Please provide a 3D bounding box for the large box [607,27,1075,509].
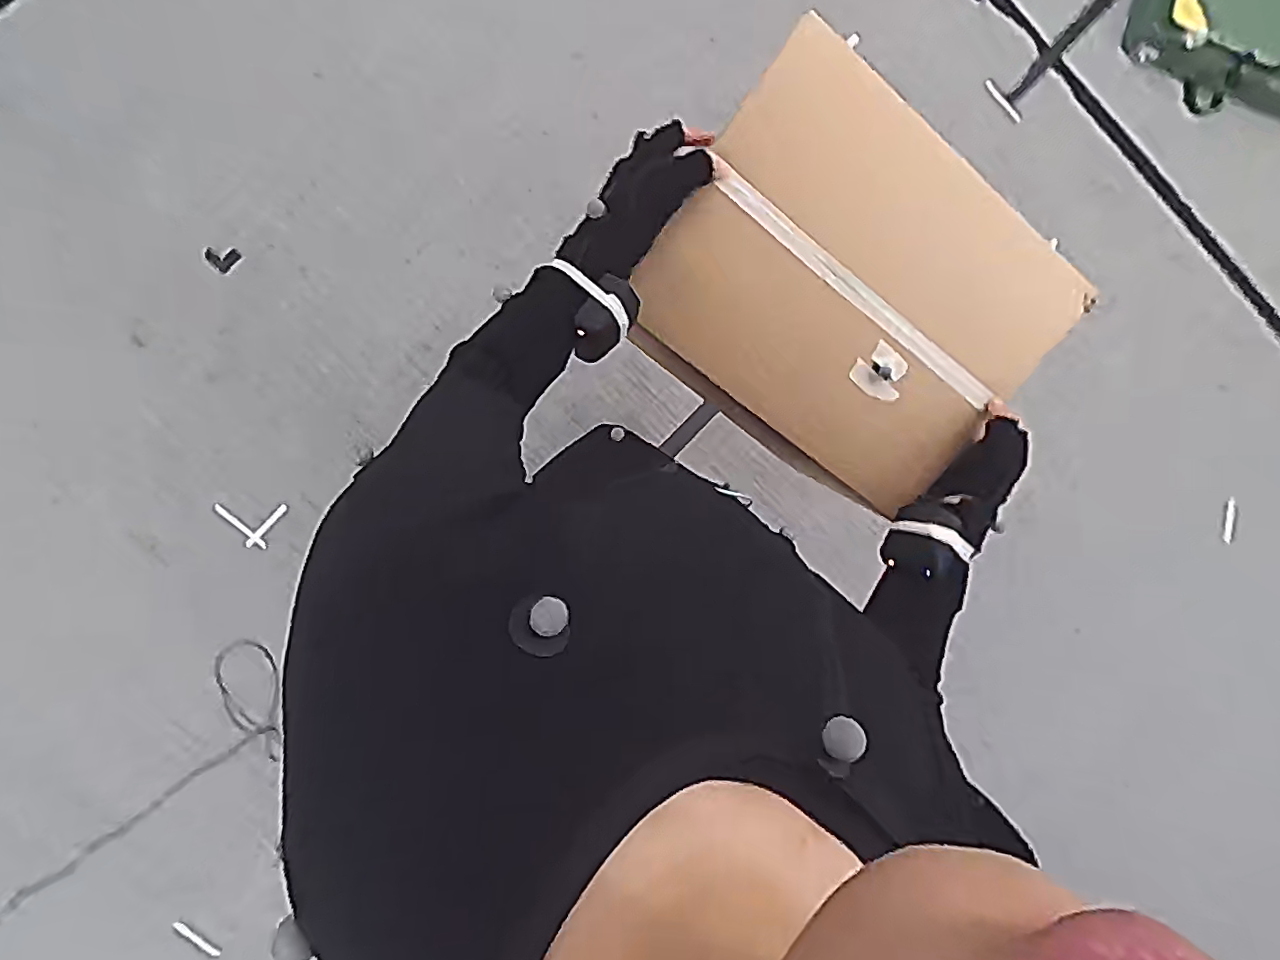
[{"bbox_3d":[0.206,-0.229,0.703,0.408,0.320,0.320,36,99,-12],"label":"large box"}]
